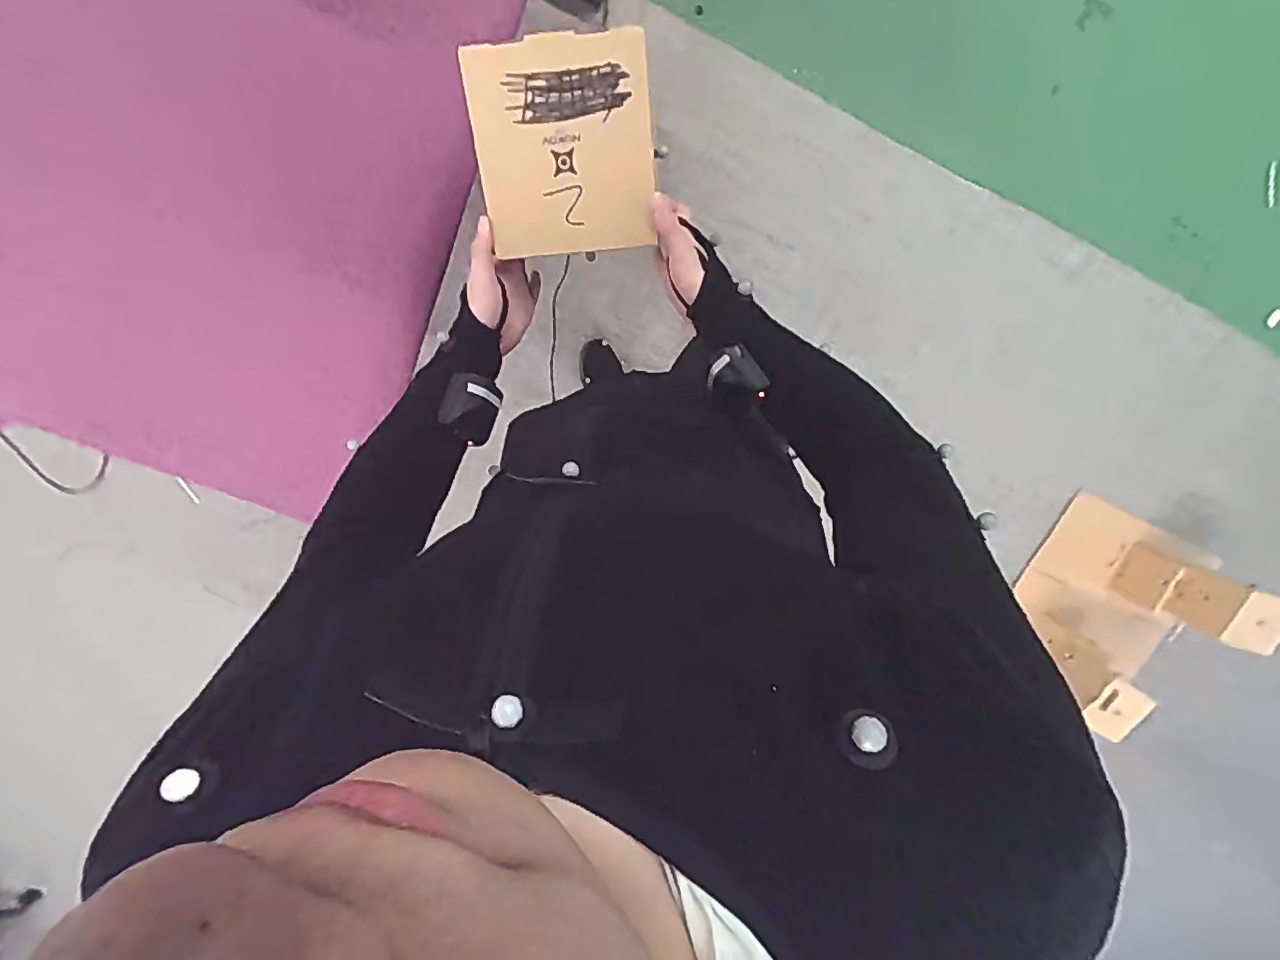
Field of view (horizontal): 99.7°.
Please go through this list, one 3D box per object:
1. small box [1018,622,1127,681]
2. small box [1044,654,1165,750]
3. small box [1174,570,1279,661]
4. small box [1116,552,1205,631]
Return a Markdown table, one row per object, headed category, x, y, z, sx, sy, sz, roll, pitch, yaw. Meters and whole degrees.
| category | x | y | z | sx | sy | sz | roll | pitch | yaw |
| --- | --- | --- | --- | --- | --- | --- | --- | --- | --- |
| small box | 1.385 | 0.584 | 1.746 | 0.179 | 0.176 | 0.168 | 28 | 102 | -10 |
| small box | 1.354 | 0.642 | 1.591 | 0.179 | 0.176 | 0.168 | 31 | 103 | -12 |
| small box | 1.696 | 0.376 | 1.530 | 0.179 | 0.176 | 0.168 | 17 | 105 | -8 |
| small box | 1.668 | 0.342 | 1.692 | 0.179 | 0.176 | 0.168 | 16 | 105 | -7 |
